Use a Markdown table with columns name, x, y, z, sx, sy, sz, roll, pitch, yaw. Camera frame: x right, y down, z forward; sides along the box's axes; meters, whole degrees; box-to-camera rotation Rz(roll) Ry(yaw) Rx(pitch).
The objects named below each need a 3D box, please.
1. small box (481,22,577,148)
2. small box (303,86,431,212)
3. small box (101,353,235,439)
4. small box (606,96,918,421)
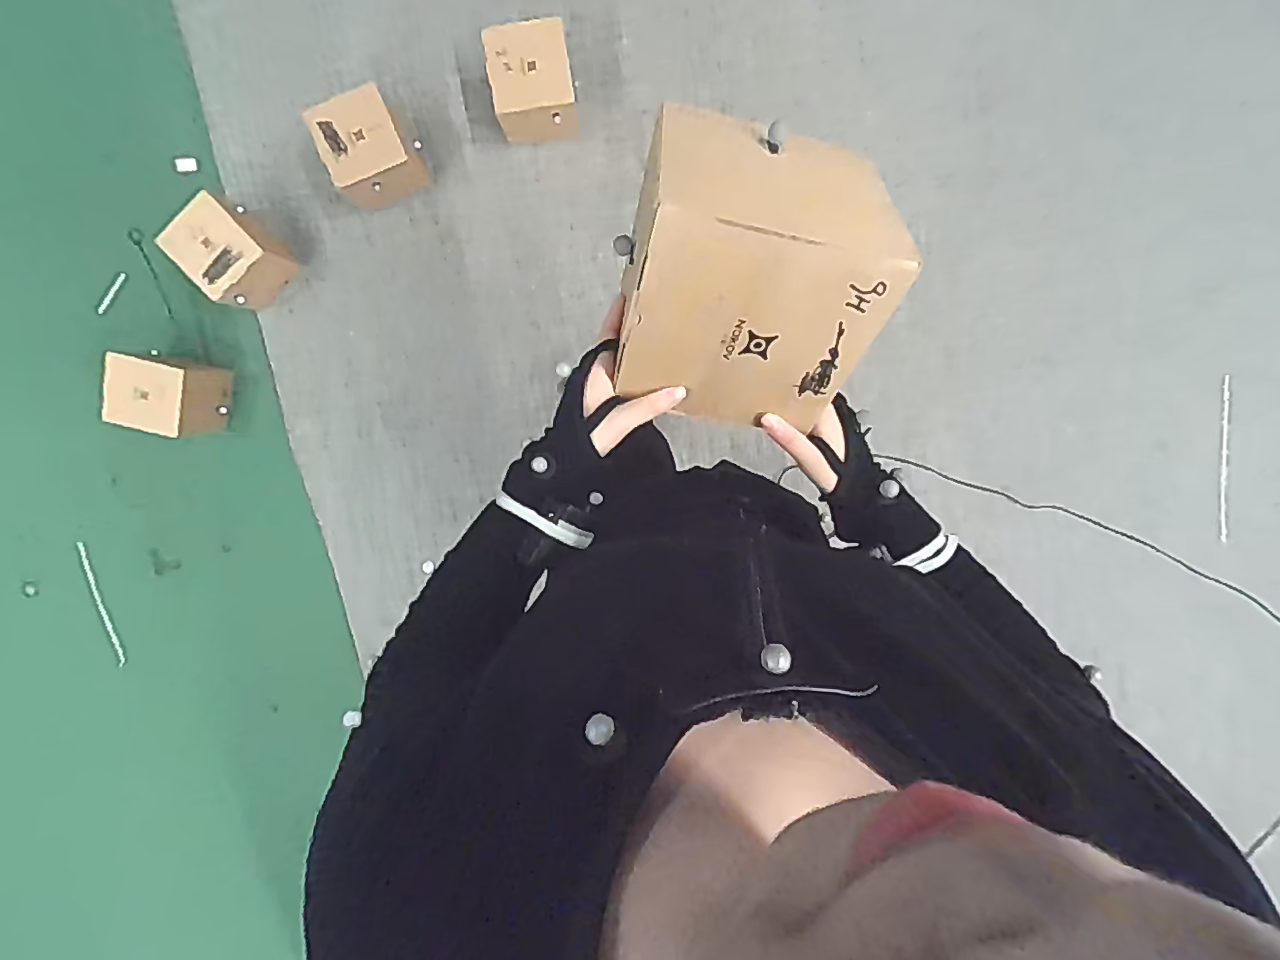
| name | x | y | z | sx | sy | sz | roll | pitch | yaw |
| --- | --- | --- | --- | --- | --- | --- | --- | --- | --- |
| small box | -0.242 | -0.886 | 1.228 | 0.179 | 0.176 | 0.168 | -9 | 100 | 0 |
| small box | -0.615 | -0.747 | 1.242 | 0.179 | 0.176 | 0.168 | -21 | 100 | 2 |
| small box | -1.152 | -0.205 | 1.328 | 0.179 | 0.176 | 0.168 | 14 | 100 | -4 |
| small box | 0.079 | -0.177 | 0.438 | 0.179 | 0.176 | 0.168 | 10 | 142 | -8 |
